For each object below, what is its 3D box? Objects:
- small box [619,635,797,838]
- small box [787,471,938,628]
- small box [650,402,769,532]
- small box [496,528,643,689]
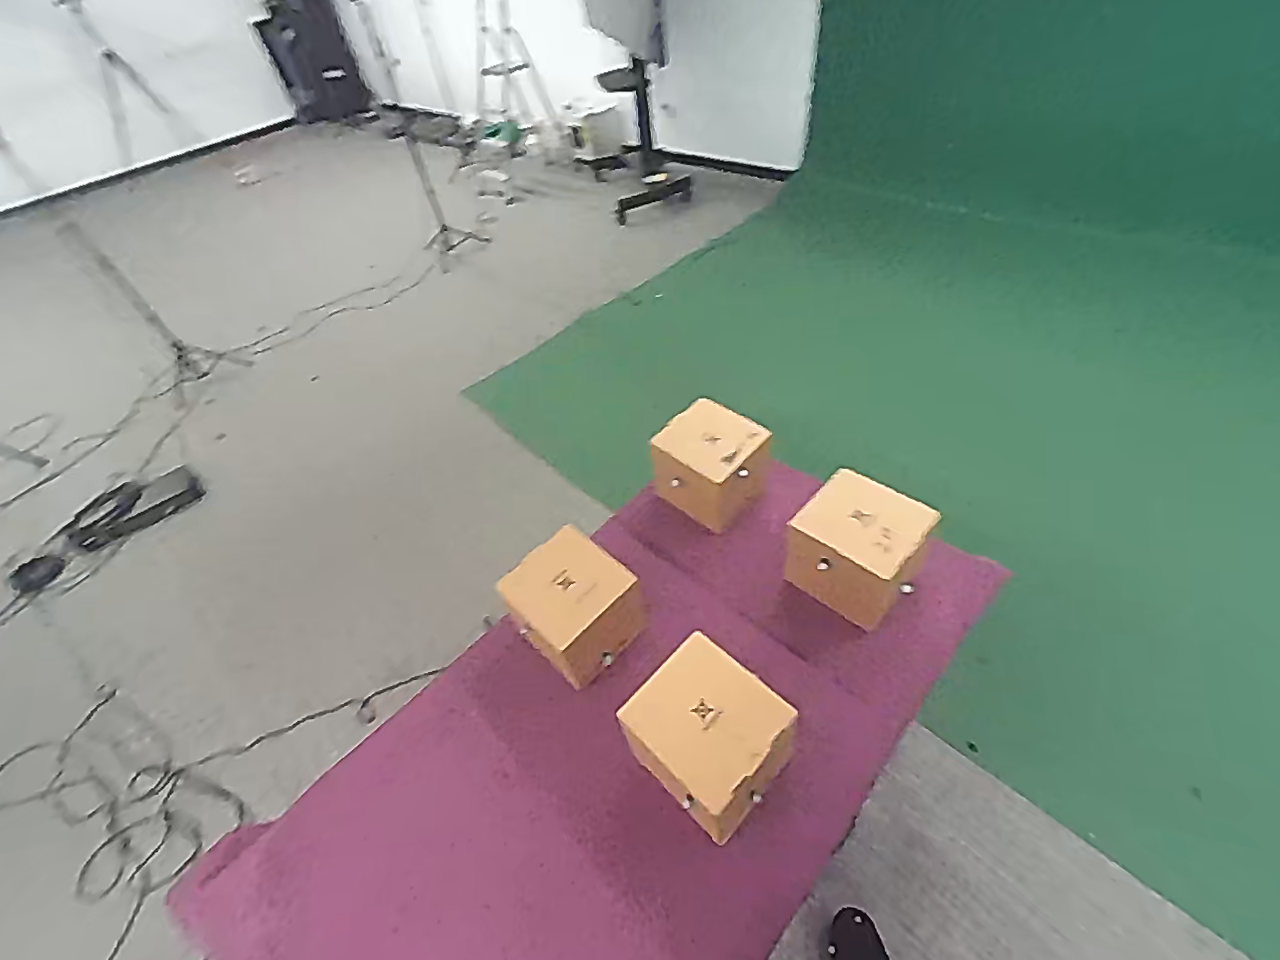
[{"bbox_3d":[0.096,0.363,0.765,0.168,0.176,0.179,-39,52,-25],"label":"small box"},{"bbox_3d":[0.372,0.122,0.936,0.168,0.176,0.179,-40,52,-23],"label":"small box"},{"bbox_3d":[0.143,-0.024,1.109,0.179,0.176,0.168,33,62,31],"label":"small box"},{"bbox_3d":[-0.113,0.223,0.929,0.179,0.176,0.168,34,61,31],"label":"small box"}]
